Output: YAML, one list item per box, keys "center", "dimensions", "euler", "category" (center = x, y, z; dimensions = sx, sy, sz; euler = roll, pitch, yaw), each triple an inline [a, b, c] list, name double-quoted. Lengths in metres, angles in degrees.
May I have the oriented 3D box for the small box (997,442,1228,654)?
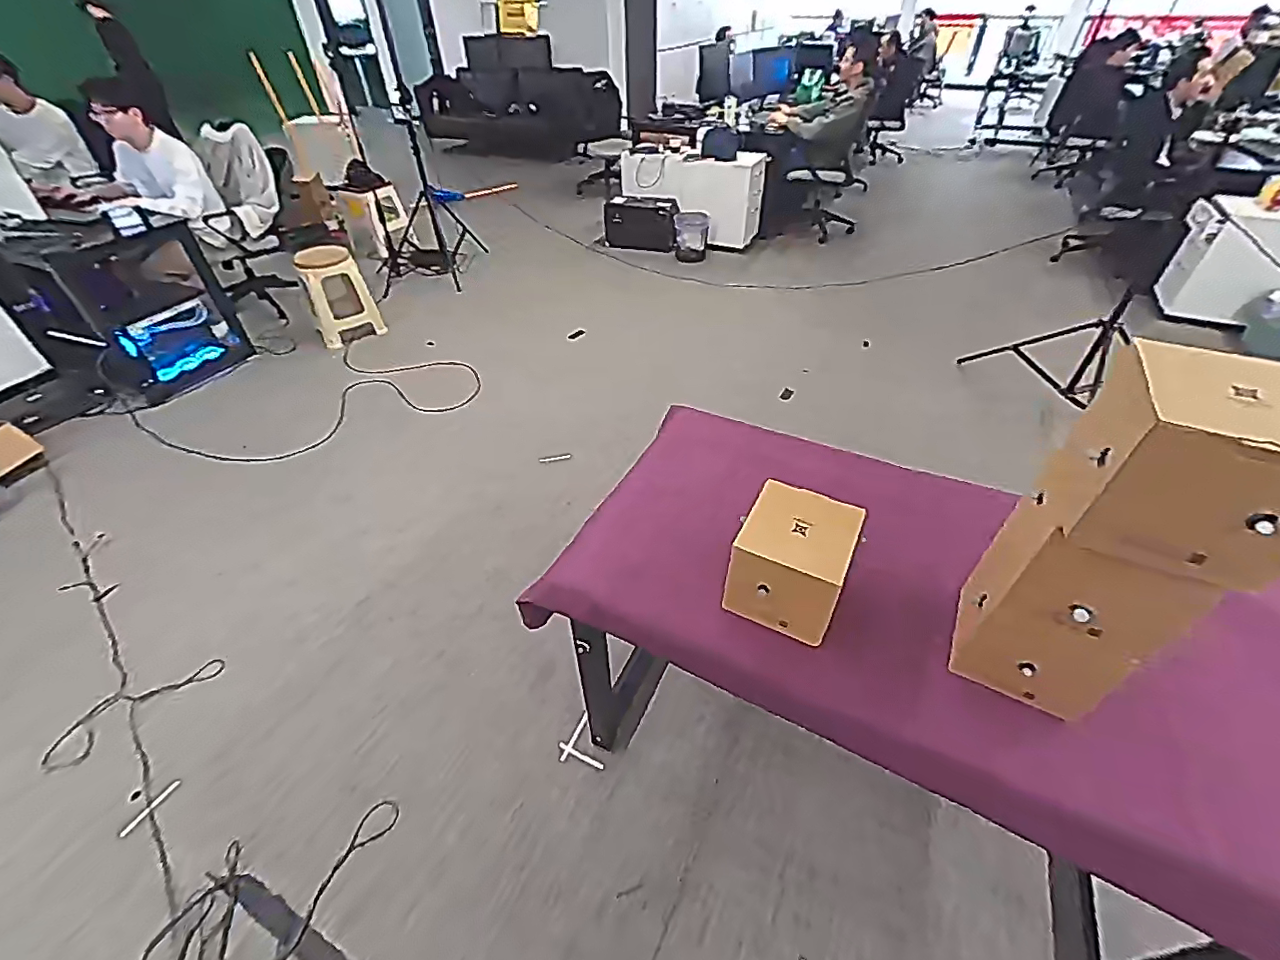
- center: [0.589, 0.084, 0.697]
  dimensions: [0.168, 0.176, 0.179]
  euler: [20, 47, 22]
  category: "small box"

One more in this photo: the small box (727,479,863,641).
- center: [0.251, 0.134, 0.896]
  dimensions: [0.168, 0.176, 0.179]
  euler: [19, 45, 21]
  category: "small box"

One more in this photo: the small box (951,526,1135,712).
- center: [0.586, 0.207, 0.805]
  dimensions: [0.168, 0.176, 0.179]
  euler: [21, 46, 22]
  category: "small box"

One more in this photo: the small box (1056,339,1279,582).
- center: [0.578, -0.023, 0.573]
  dimensions: [0.168, 0.176, 0.179]
  euler: [18, 45, 19]
  category: "small box"
